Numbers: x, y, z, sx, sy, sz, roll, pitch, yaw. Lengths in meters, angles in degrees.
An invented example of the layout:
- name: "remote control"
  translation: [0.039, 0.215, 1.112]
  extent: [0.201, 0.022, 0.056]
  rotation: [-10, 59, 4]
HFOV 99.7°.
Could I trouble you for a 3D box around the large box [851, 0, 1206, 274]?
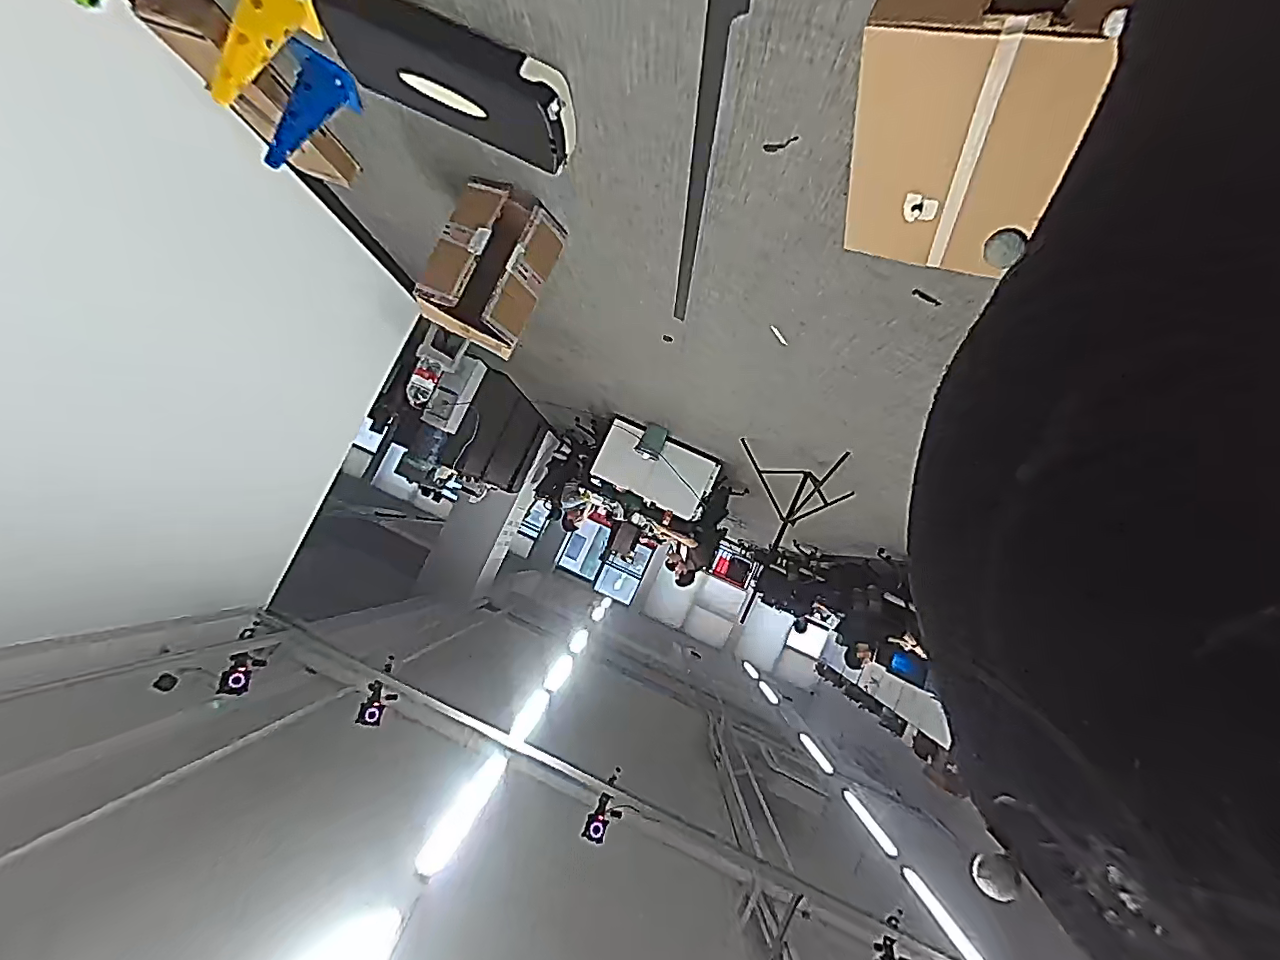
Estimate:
- name: "large box"
  translation: [0.504, -0.557, 0.741]
  extent: [0.320, 0.320, 0.408]
  rotation: [23, 175, 22]
